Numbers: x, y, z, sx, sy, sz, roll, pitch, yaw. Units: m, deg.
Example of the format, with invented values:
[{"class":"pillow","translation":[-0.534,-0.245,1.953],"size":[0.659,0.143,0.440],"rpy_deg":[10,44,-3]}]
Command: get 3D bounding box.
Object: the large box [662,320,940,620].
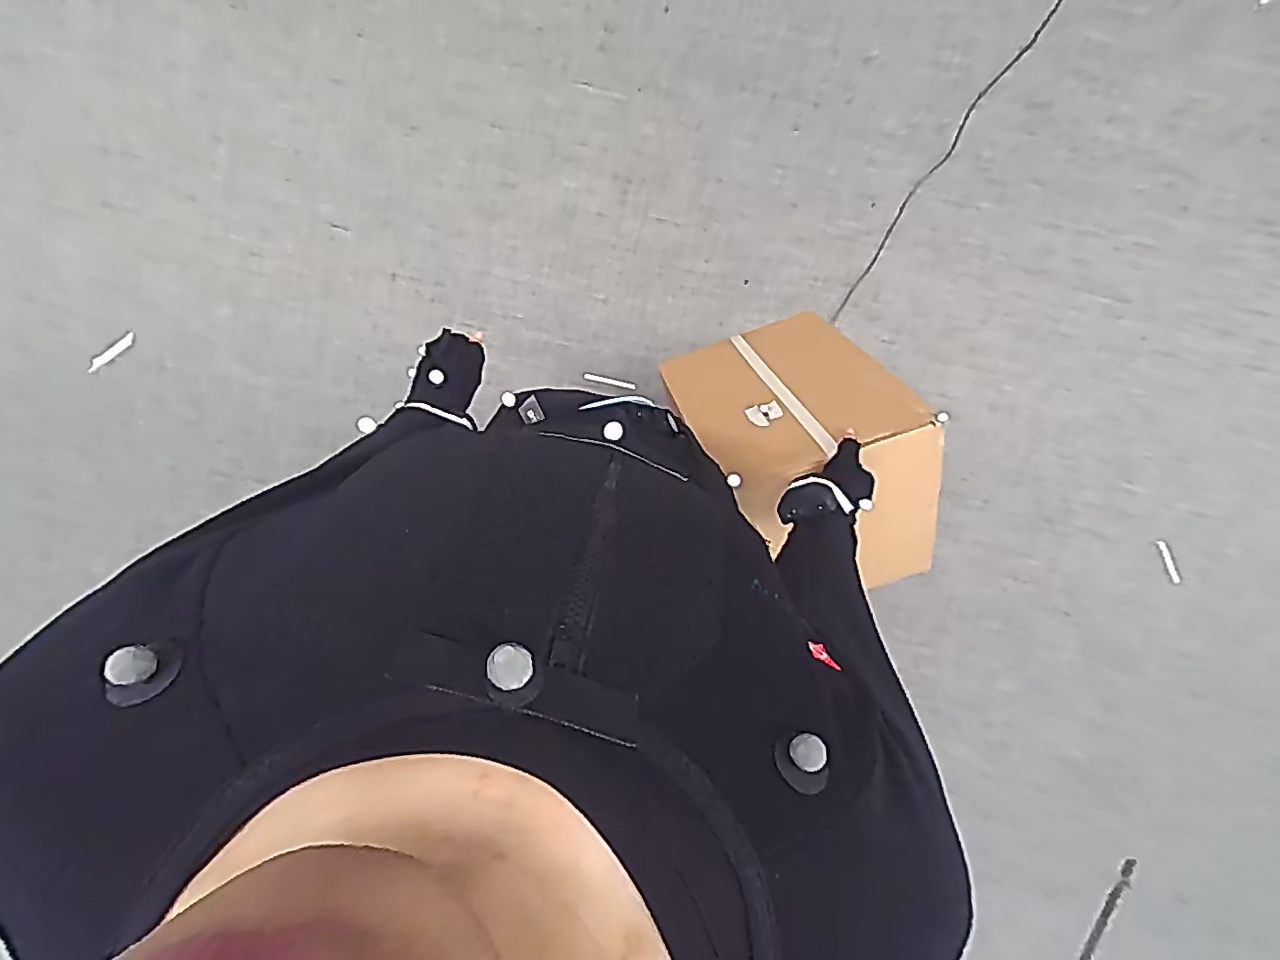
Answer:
[{"class":"large box","translation":[0.260,-0.031,0.977],"size":[0.320,0.408,0.320],"rpy_deg":[-19,130,2]}]
